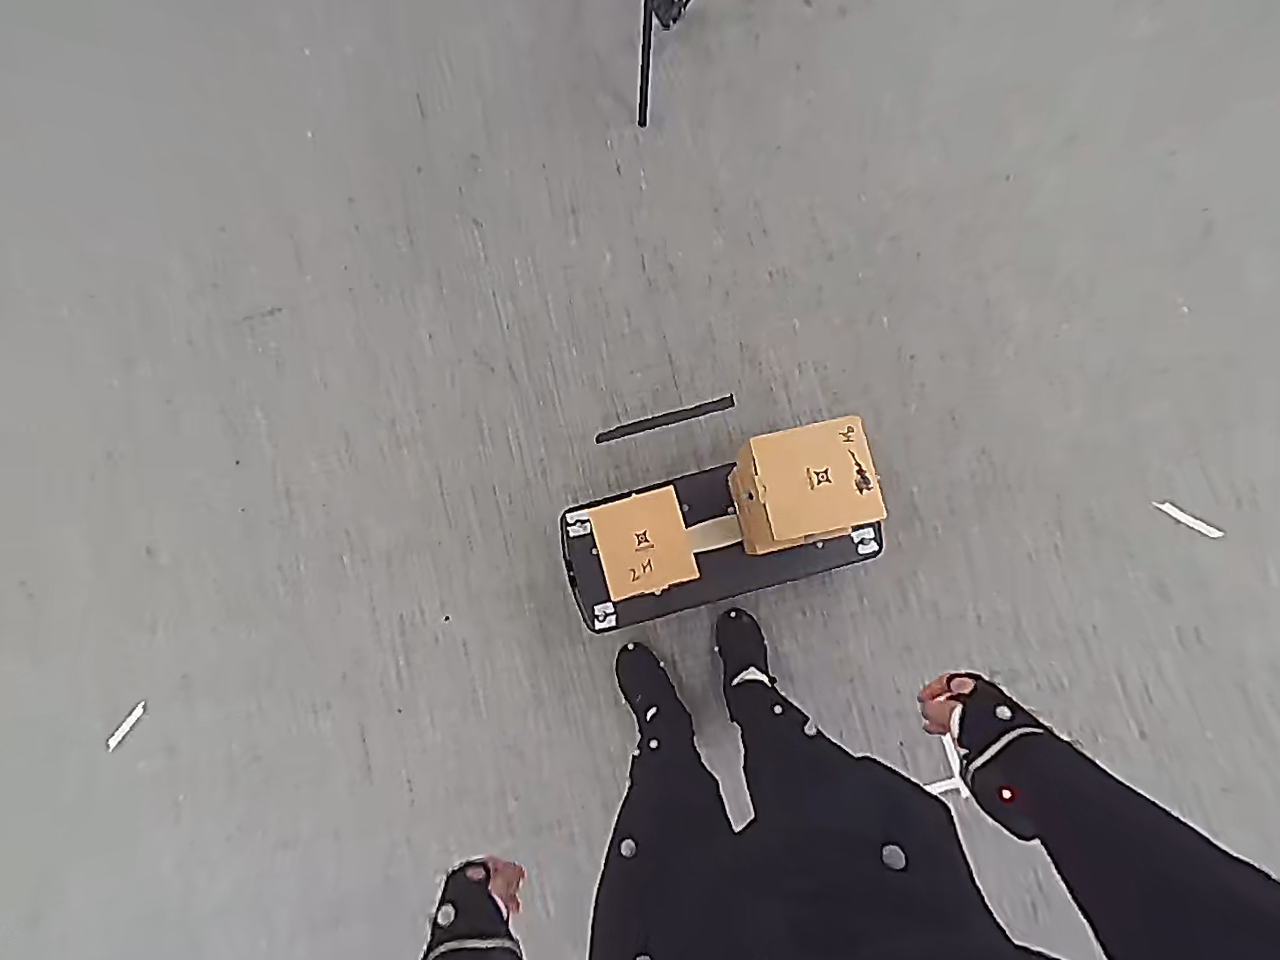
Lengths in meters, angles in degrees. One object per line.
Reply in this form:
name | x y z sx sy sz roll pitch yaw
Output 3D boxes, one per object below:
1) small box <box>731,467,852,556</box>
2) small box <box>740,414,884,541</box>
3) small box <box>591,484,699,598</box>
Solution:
small box | 0.279 0.046 1.051 0.179 0.176 0.168 -15 81 1
small box | 0.268 0.005 0.893 0.179 0.176 0.168 -12 82 2
small box | 0.008 0.121 1.053 0.168 0.176 0.179 -16 82 1
